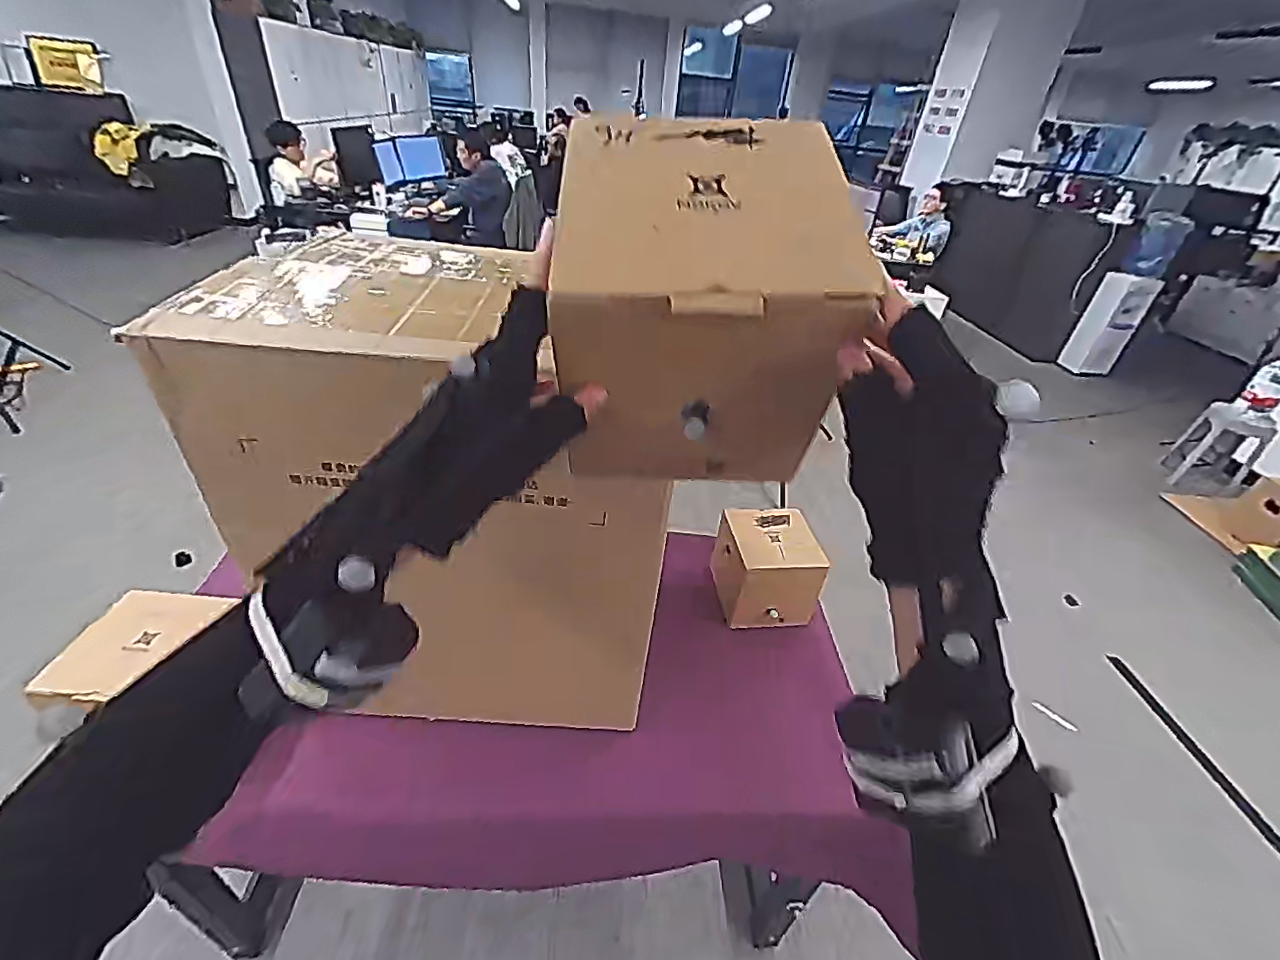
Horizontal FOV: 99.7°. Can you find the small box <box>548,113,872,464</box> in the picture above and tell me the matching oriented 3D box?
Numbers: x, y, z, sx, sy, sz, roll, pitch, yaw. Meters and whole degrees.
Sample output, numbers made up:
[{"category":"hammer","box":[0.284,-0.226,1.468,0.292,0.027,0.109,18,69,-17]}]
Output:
[{"category":"small box","box":[0.036,-0.124,0.380,0.168,0.176,0.179,1,58,-1]}]

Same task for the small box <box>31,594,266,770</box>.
[{"category":"small box","box":[-0.683,0.293,0.785,0.168,0.176,0.179,7,32,-5]}]
